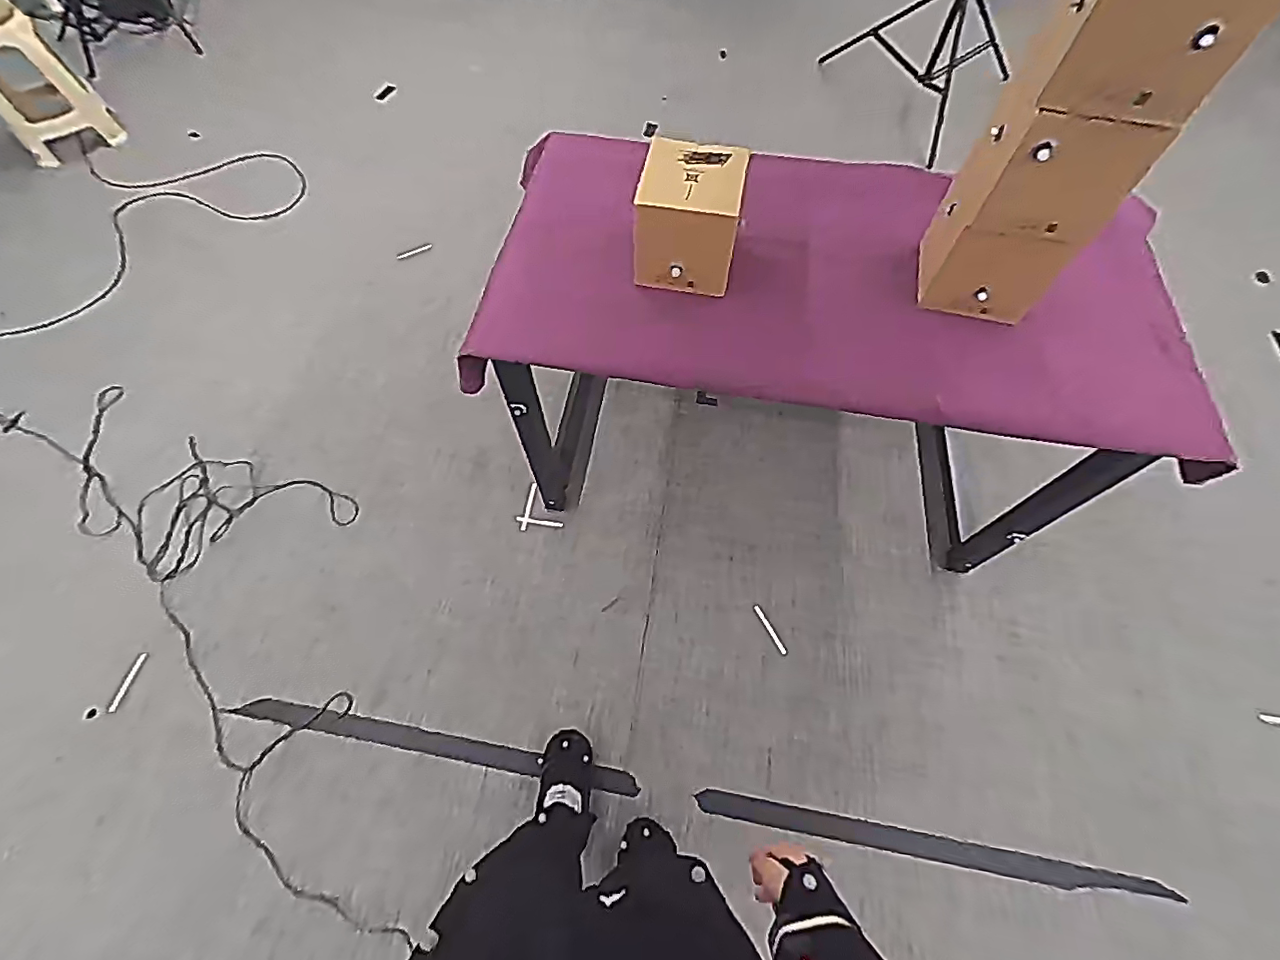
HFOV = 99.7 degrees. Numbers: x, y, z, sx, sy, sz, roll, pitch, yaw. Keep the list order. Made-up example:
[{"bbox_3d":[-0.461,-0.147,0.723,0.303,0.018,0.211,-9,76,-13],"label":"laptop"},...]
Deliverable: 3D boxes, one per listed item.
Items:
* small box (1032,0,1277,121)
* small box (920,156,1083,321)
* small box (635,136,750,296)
[{"bbox_3d":[0.584,-0.546,0.614,0.168,0.176,0.179,15,62,7],"label":"small box"},{"bbox_3d":[0.590,-0.400,0.907,0.168,0.176,0.179,13,64,8],"label":"small box"},{"bbox_3d":[0.086,-0.451,0.935,0.168,0.176,0.179,10,64,5],"label":"small box"}]
